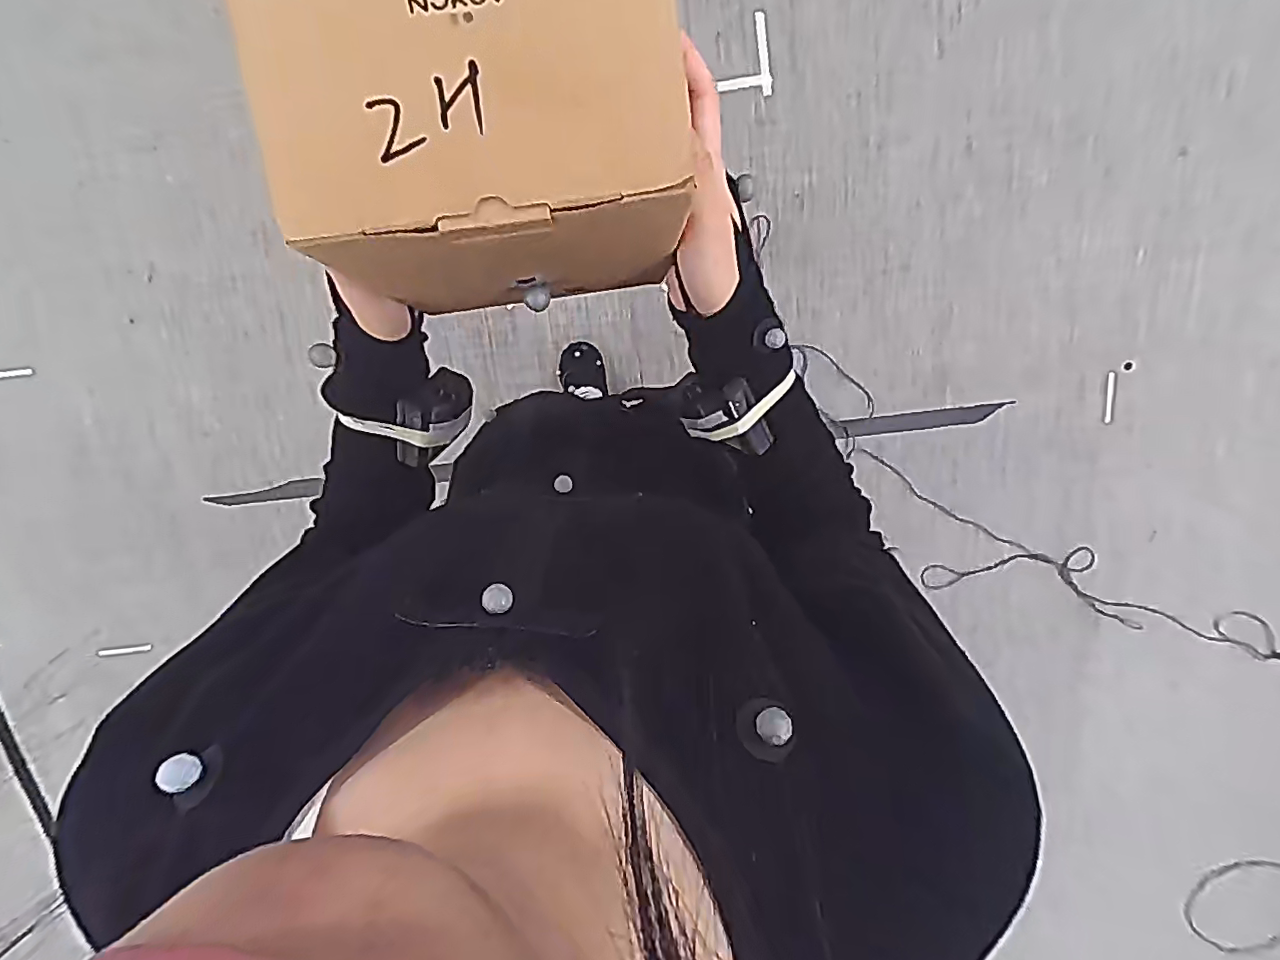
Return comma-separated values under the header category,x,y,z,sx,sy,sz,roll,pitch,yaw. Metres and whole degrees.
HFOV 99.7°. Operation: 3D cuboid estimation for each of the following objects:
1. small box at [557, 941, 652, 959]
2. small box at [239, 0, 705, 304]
category,x,y,z,sx,sy,sz,roll,pitch,yaw
small box,-0.052,0.905,0.876,0.168,0.176,0.179,-5,103,-3
small box,-0.070,-0.203,0.277,0.168,0.176,0.179,-8,99,-2
